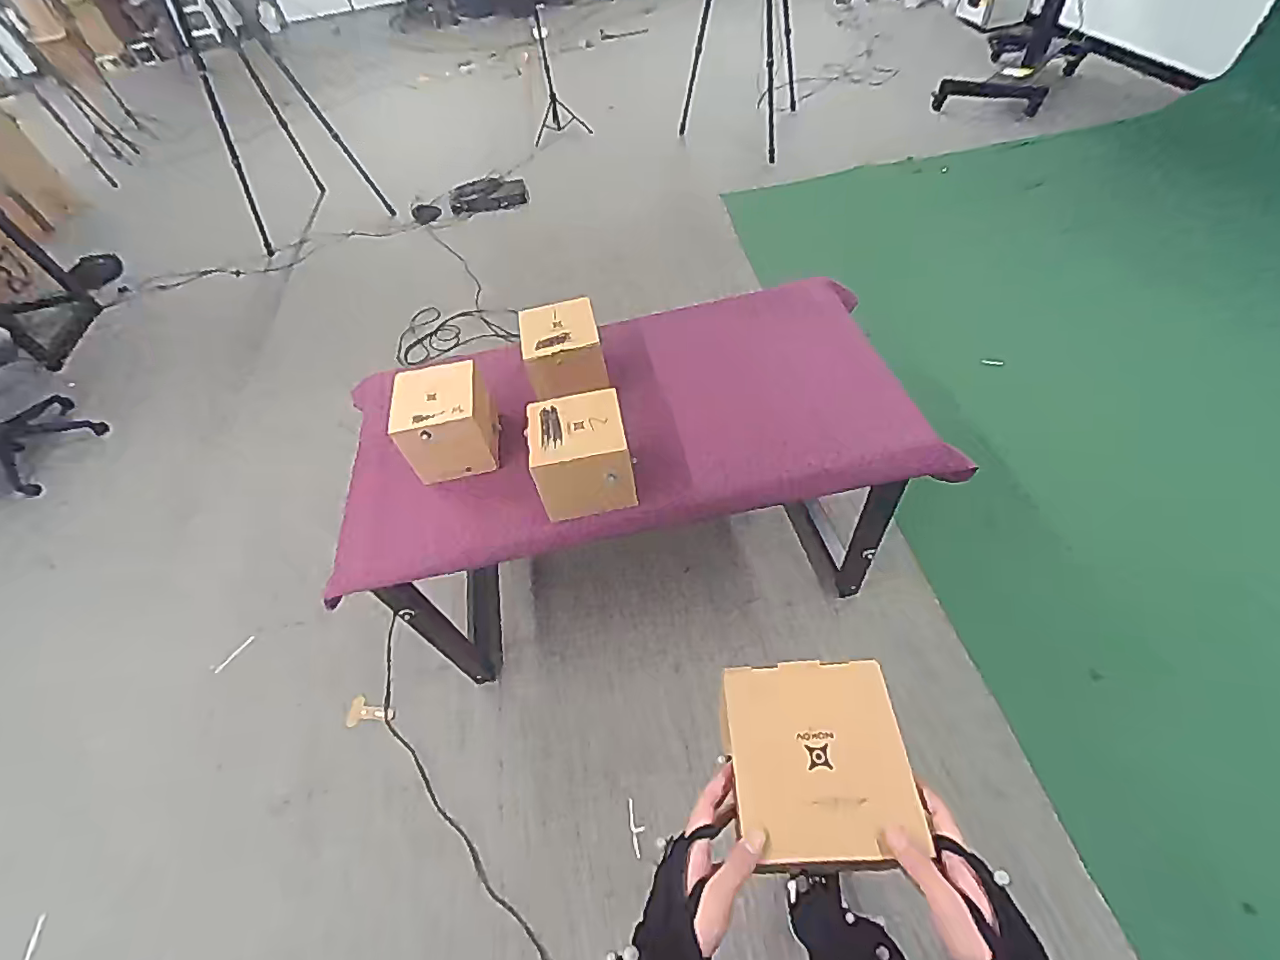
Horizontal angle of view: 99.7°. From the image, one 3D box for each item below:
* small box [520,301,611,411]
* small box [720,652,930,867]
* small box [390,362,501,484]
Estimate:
[{"bbox_3d":[-0.167,-0.275,1.236,0.168,0.176,0.179,-13,51,-2],"label":"small box"},{"bbox_3d":[0.177,0.306,0.587,0.168,0.176,0.179,-4,50,4],"label":"small box"},{"bbox_3d":[-0.401,-0.118,1.145,0.168,0.176,0.179,-13,51,0],"label":"small box"}]
